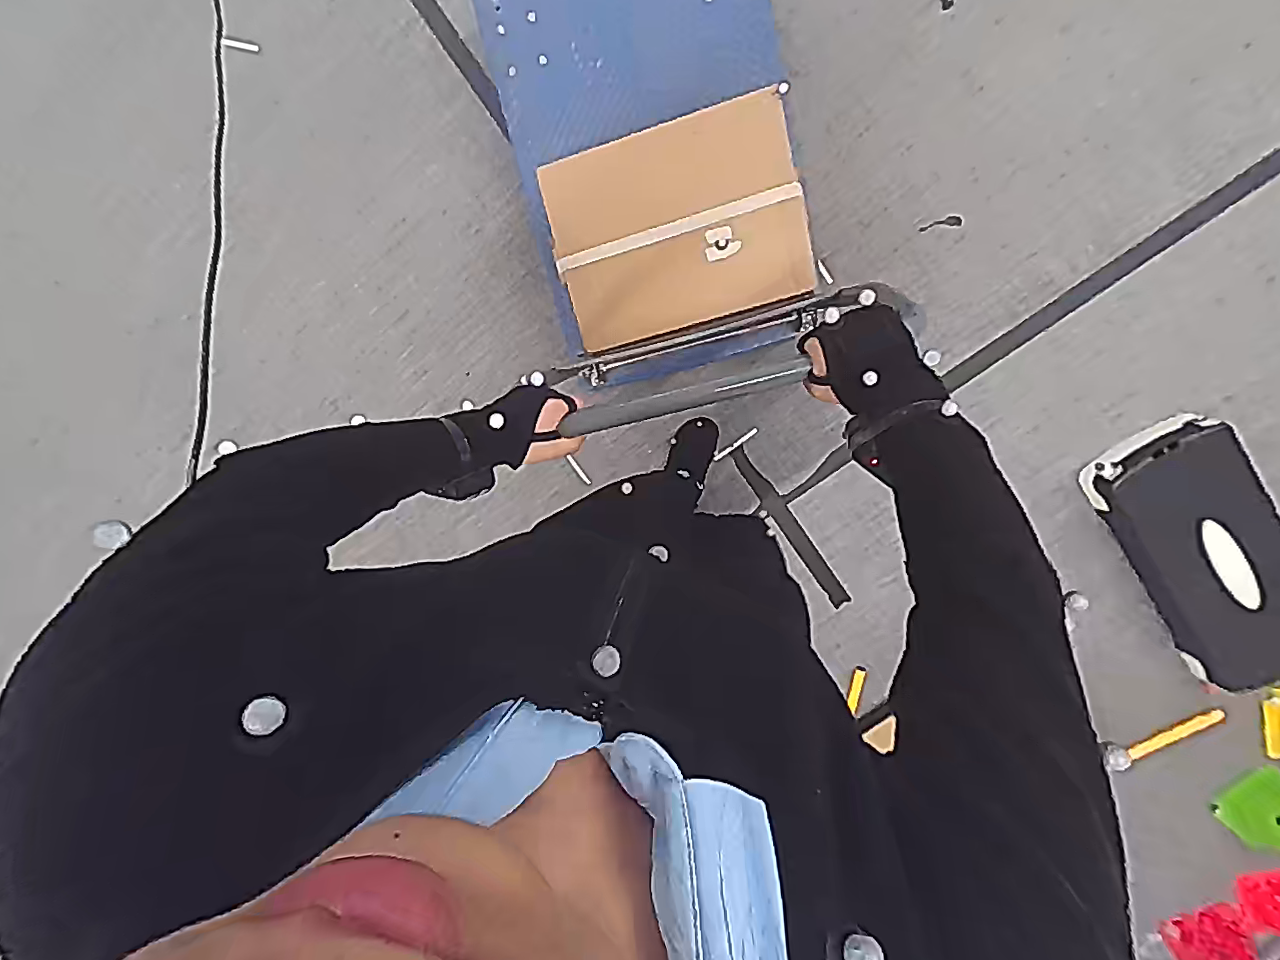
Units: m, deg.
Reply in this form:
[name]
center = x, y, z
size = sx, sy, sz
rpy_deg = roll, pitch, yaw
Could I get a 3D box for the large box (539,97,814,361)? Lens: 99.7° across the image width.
[large box]
center = 0.074, -0.432, 1.037
size = 0.408, 0.320, 0.320
rpy_deg = -14, 101, 9
